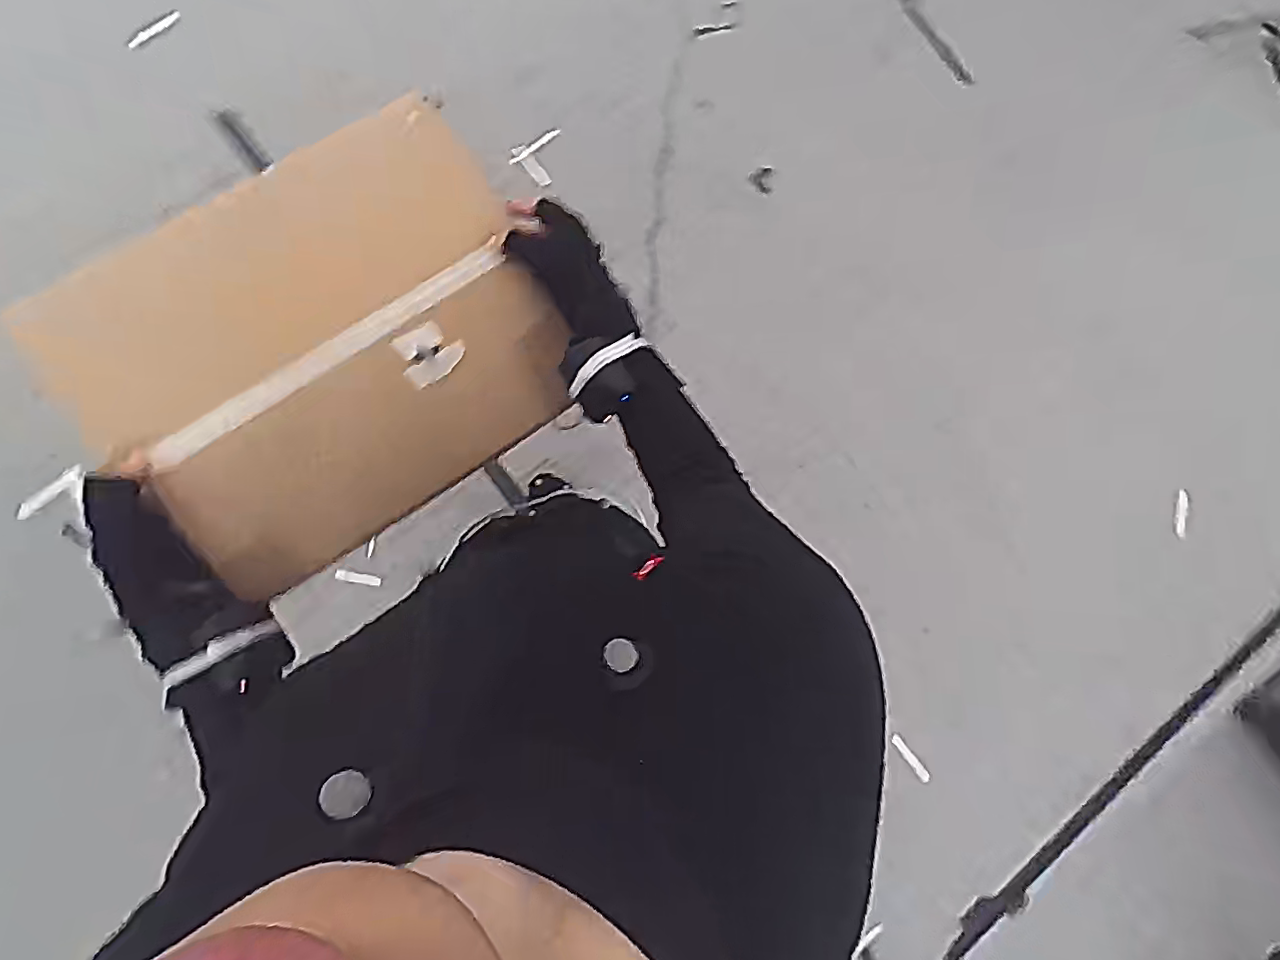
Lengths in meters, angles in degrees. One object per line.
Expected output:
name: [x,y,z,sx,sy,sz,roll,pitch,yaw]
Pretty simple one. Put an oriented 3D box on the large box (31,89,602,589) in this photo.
large box: [-0.310,-0.140,0.653,0.408,0.320,0.320,-36,101,-8]
